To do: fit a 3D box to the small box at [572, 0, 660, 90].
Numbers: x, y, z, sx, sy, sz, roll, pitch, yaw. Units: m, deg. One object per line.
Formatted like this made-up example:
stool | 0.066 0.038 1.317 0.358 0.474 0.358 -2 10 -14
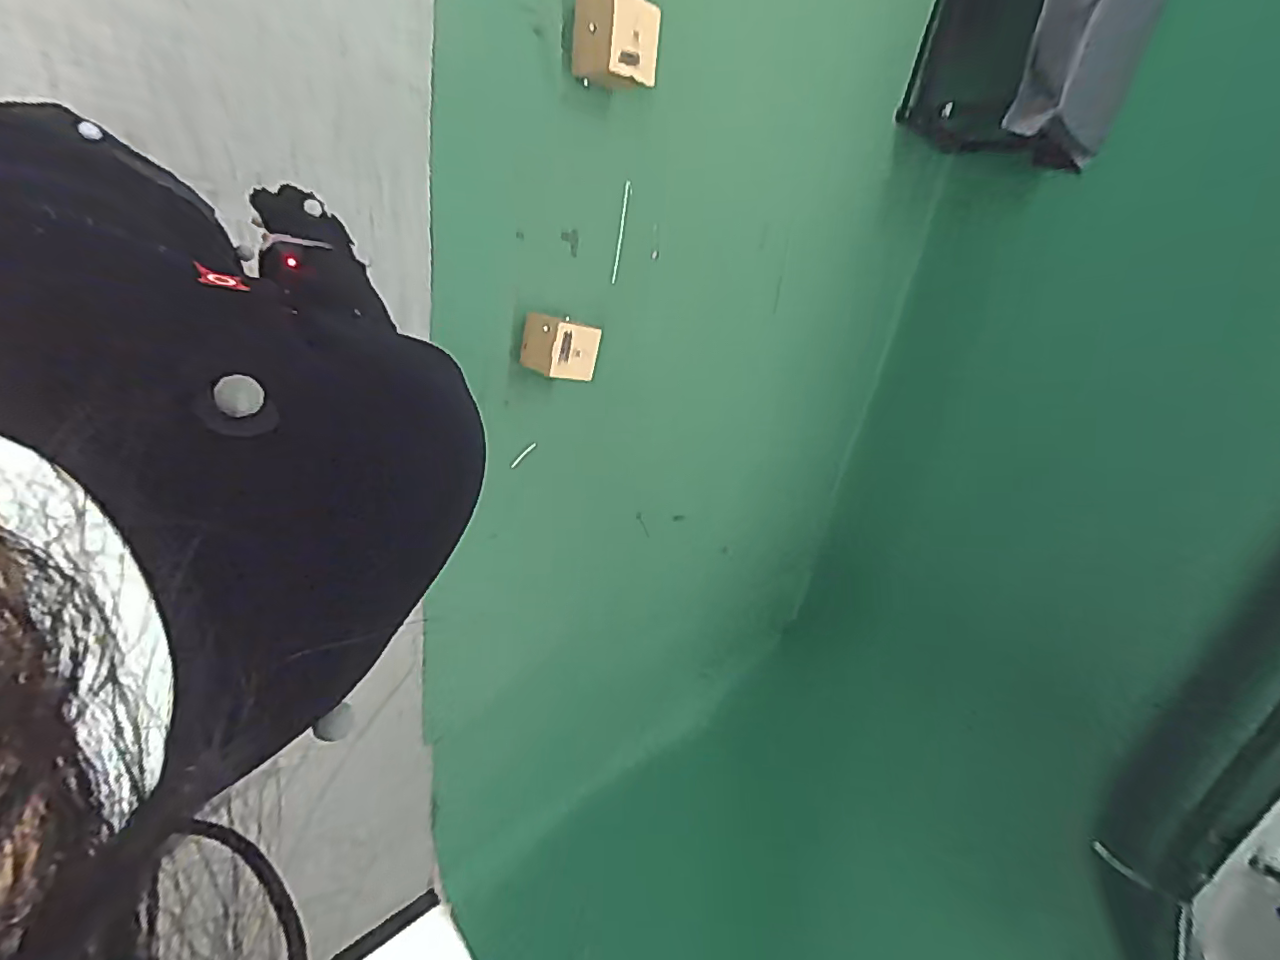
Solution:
small box | -0.070 -1.184 1.464 0.168 0.176 0.179 -16 122 -42
